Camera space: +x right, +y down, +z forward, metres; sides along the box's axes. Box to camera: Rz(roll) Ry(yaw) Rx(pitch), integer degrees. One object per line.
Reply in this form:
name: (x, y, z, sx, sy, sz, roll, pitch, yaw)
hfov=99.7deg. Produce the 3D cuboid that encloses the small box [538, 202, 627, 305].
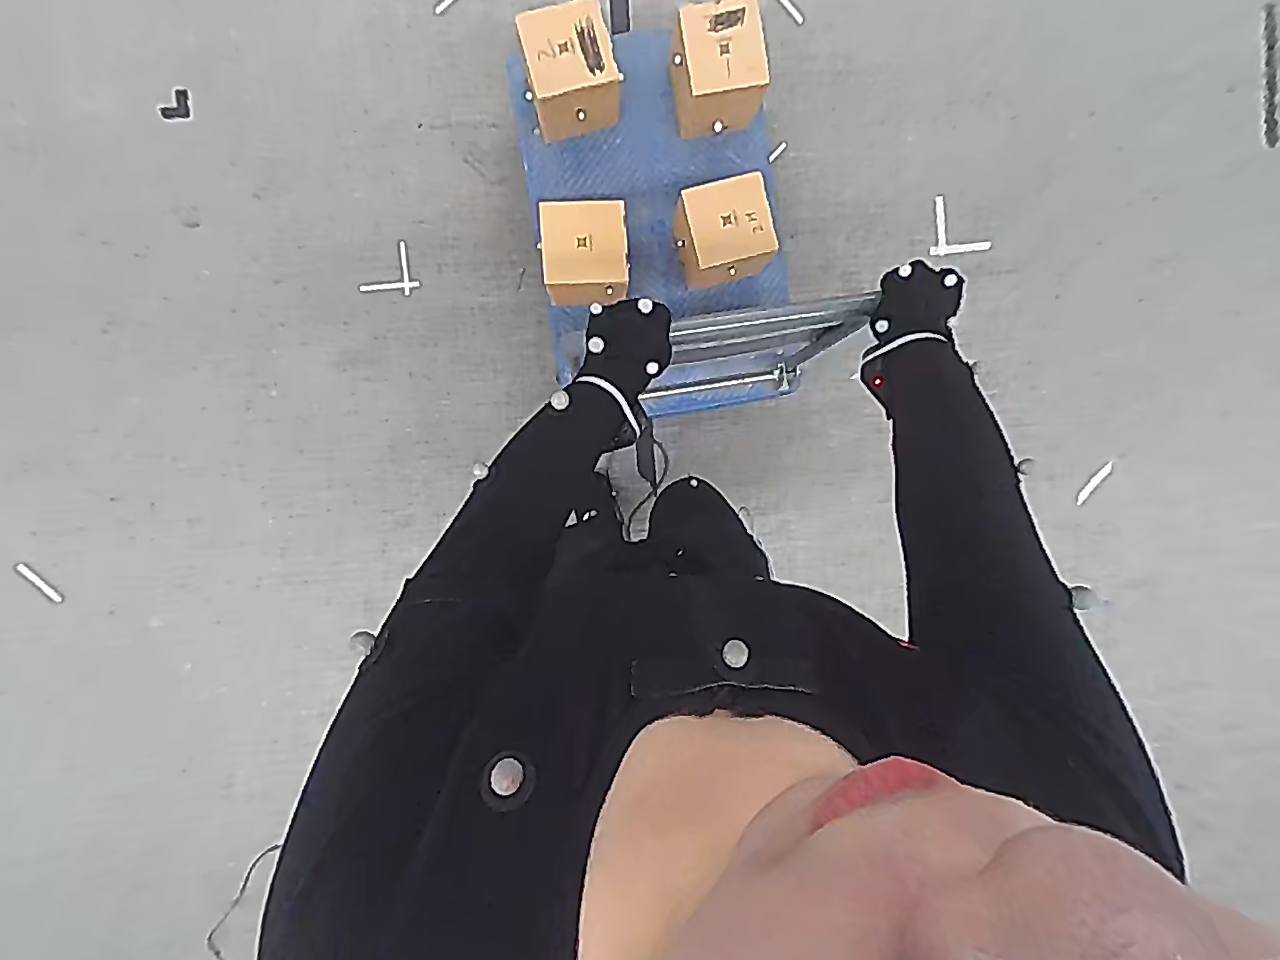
small box: (-0.124, -0.490, 1.192, 0.179, 0.176, 0.168, -4, 93, -5)

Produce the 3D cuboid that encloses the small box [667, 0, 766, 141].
small box: (0.160, -0.887, 1.184, 0.168, 0.176, 0.179, -11, 95, -3)

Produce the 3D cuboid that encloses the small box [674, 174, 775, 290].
small box: (0.178, -0.543, 1.208, 0.179, 0.176, 0.168, -15, 95, -3)
